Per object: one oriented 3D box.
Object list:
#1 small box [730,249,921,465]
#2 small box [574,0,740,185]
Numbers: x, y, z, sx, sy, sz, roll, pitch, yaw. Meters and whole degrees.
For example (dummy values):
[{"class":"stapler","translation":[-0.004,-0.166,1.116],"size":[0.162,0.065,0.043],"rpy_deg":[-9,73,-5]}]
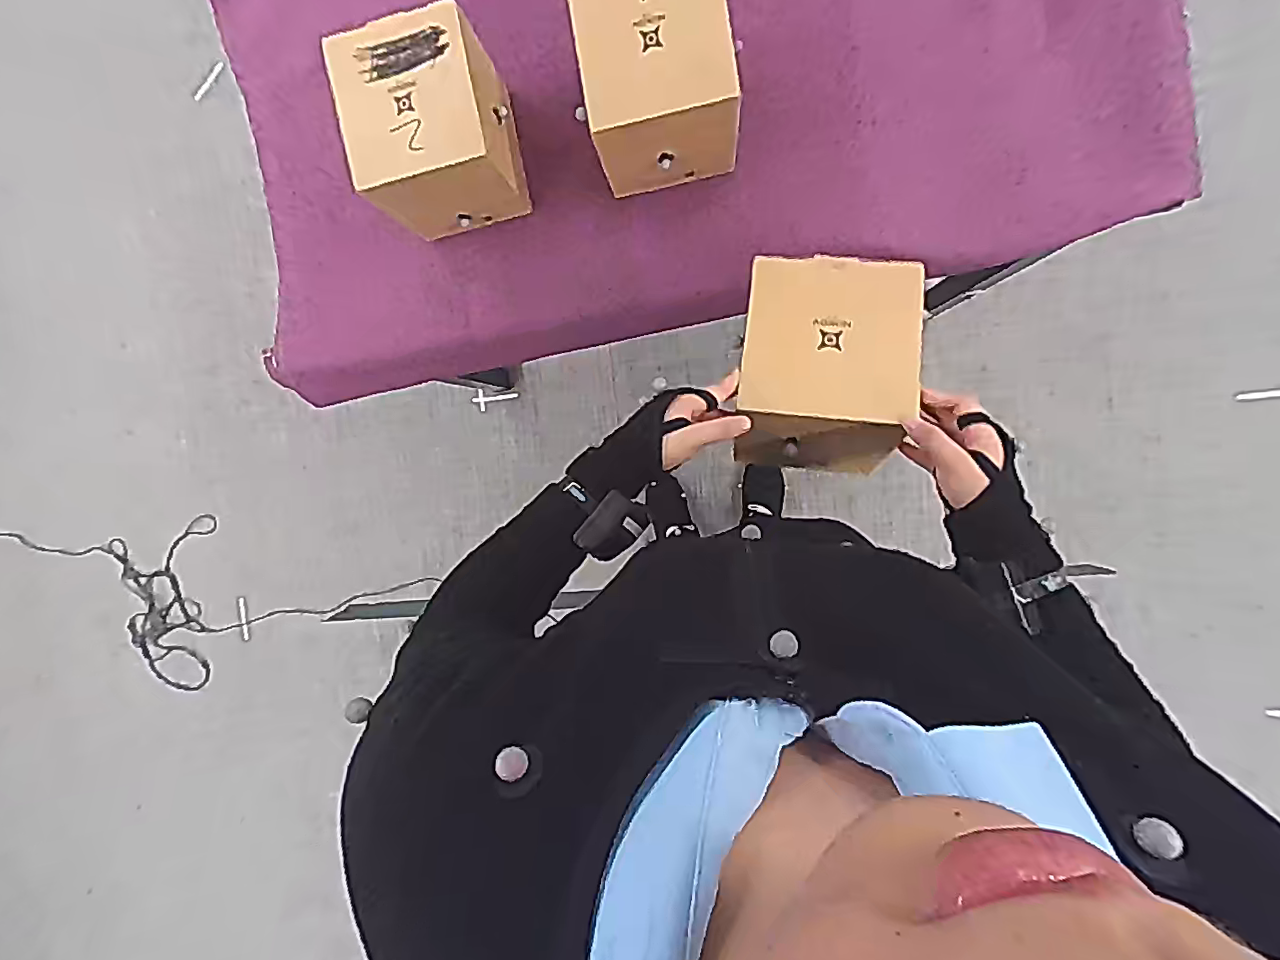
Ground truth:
[{"class":"small box","translation":[0.192,-0.125,0.595],"size":[0.168,0.176,0.179],"rpy_deg":[7,75,10]},{"class":"small box","translation":[0.026,-0.485,0.654],"size":[0.168,0.176,0.179],"rpy_deg":[-9,93,7]}]
